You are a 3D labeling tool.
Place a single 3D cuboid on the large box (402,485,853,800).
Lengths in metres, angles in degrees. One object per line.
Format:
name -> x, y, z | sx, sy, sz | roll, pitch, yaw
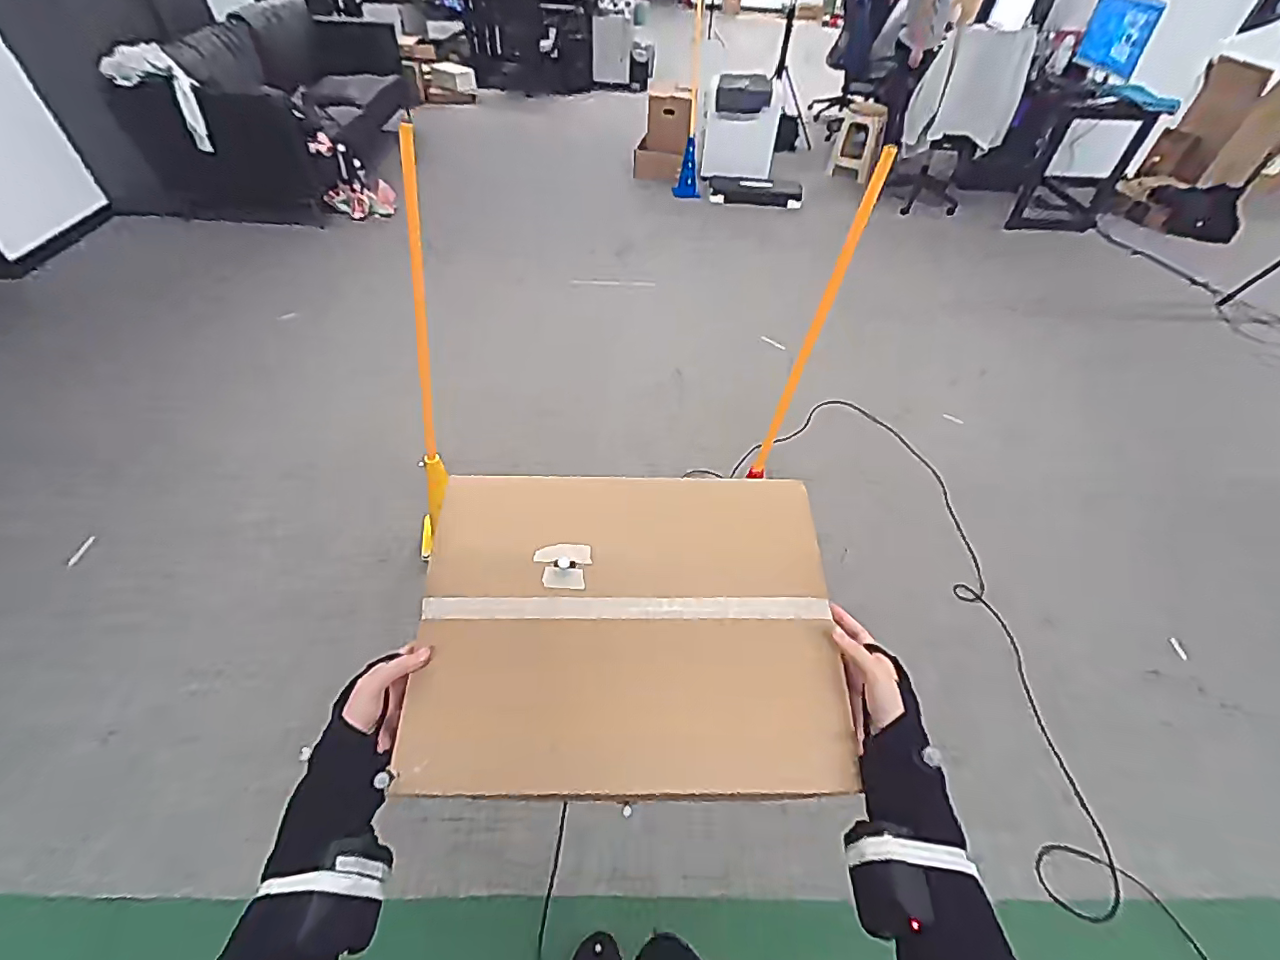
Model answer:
large box -> -0.012, 0.216, 0.675 | 0.408, 0.320, 0.320 | 0, 57, -1
